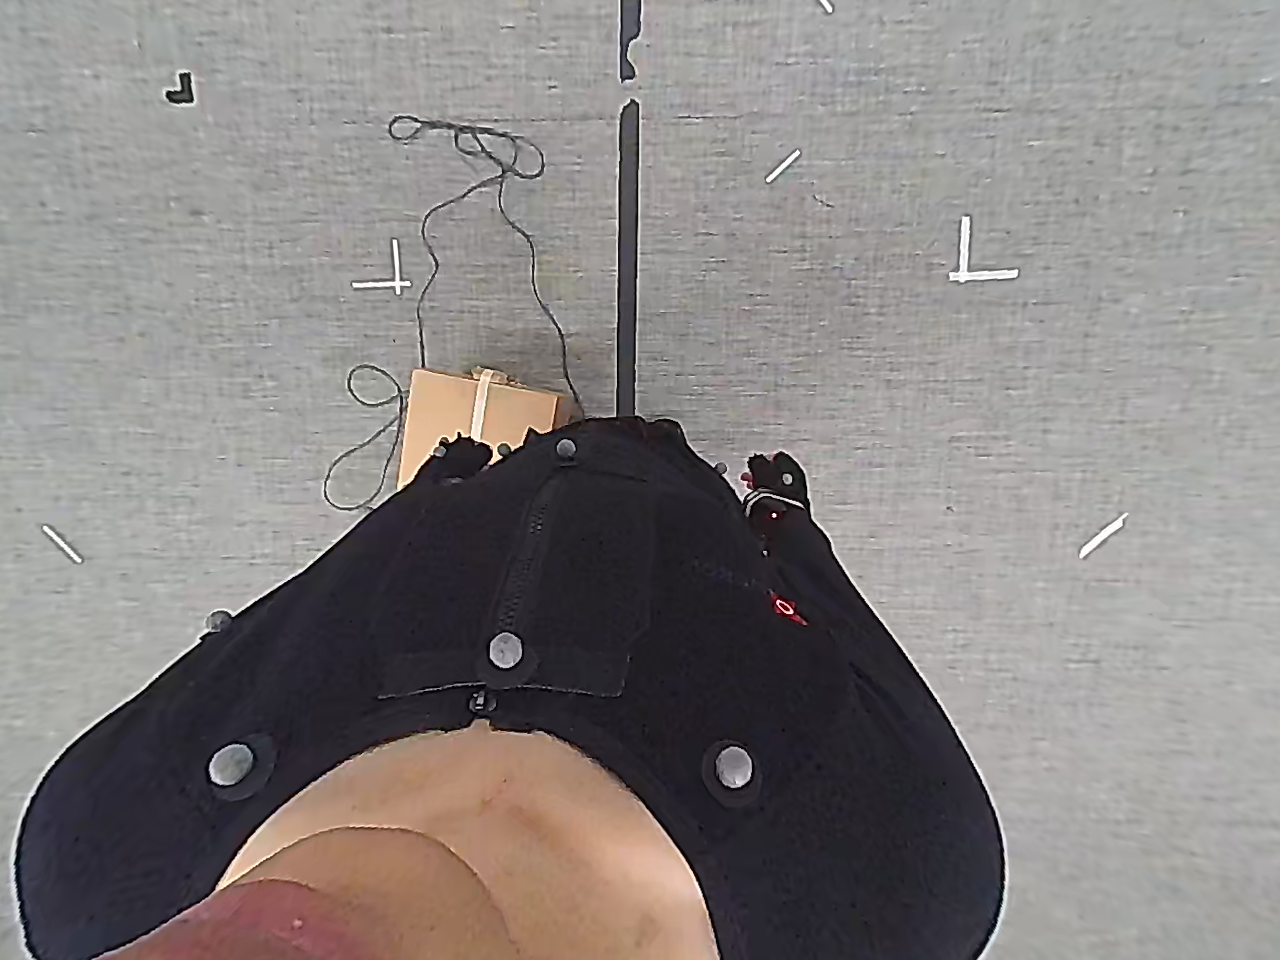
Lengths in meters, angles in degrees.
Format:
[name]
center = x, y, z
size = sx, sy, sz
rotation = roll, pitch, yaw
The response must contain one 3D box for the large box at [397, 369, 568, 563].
[large box]
center = -0.372, -0.052, 1.349
size = 0.320, 0.320, 0.408
rotation = 11, 100, -1
